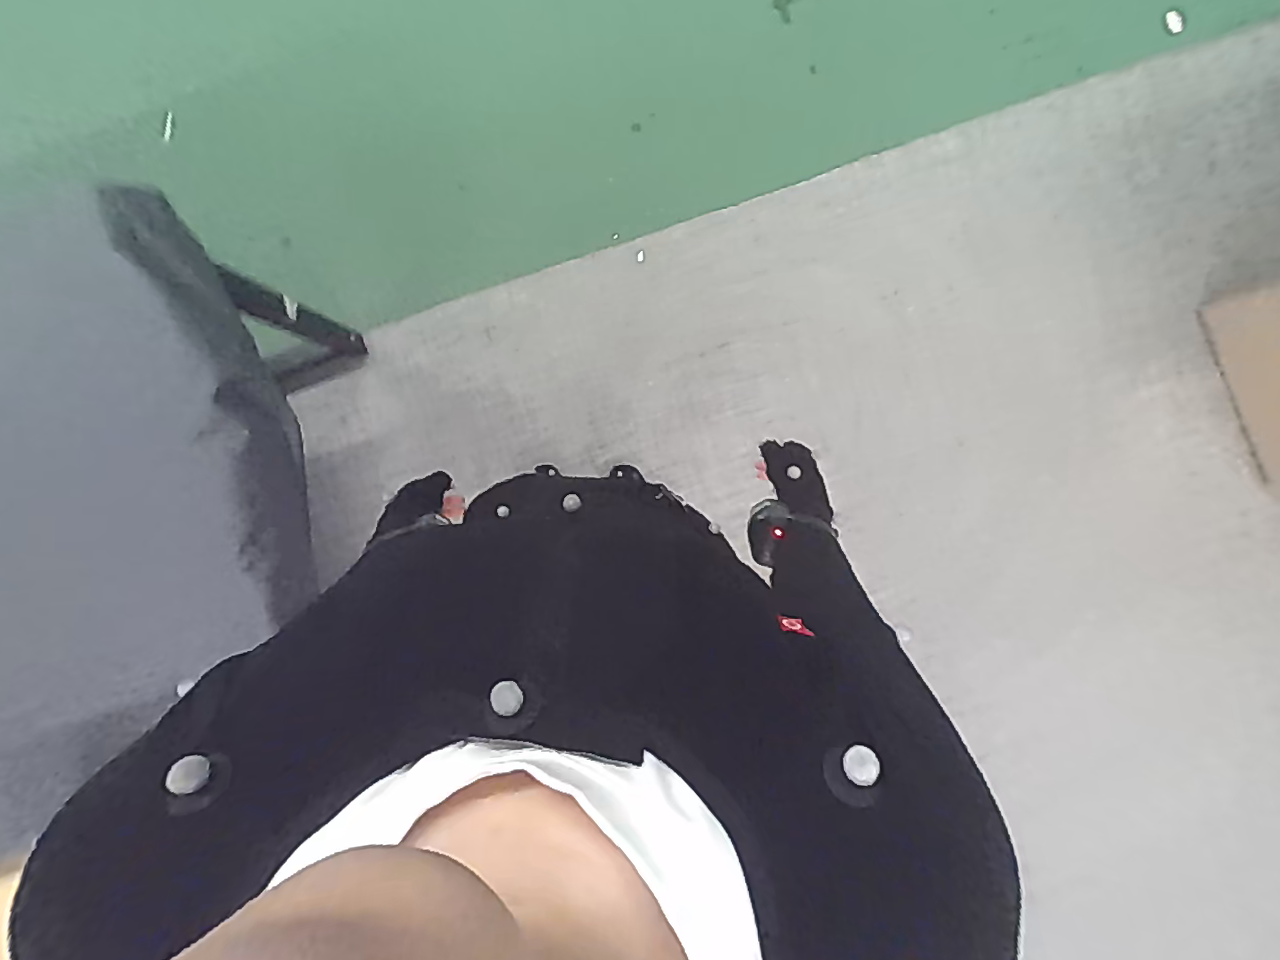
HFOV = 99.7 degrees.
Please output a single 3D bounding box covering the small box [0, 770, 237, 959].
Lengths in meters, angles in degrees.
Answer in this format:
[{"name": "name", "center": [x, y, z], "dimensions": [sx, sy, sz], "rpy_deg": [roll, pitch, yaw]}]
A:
[{"name": "small box", "center": [-0.659, 0.500, 0.665], "dimensions": [0.179, 0.176, 0.168], "rpy_deg": [-20, 91, -1]}]
